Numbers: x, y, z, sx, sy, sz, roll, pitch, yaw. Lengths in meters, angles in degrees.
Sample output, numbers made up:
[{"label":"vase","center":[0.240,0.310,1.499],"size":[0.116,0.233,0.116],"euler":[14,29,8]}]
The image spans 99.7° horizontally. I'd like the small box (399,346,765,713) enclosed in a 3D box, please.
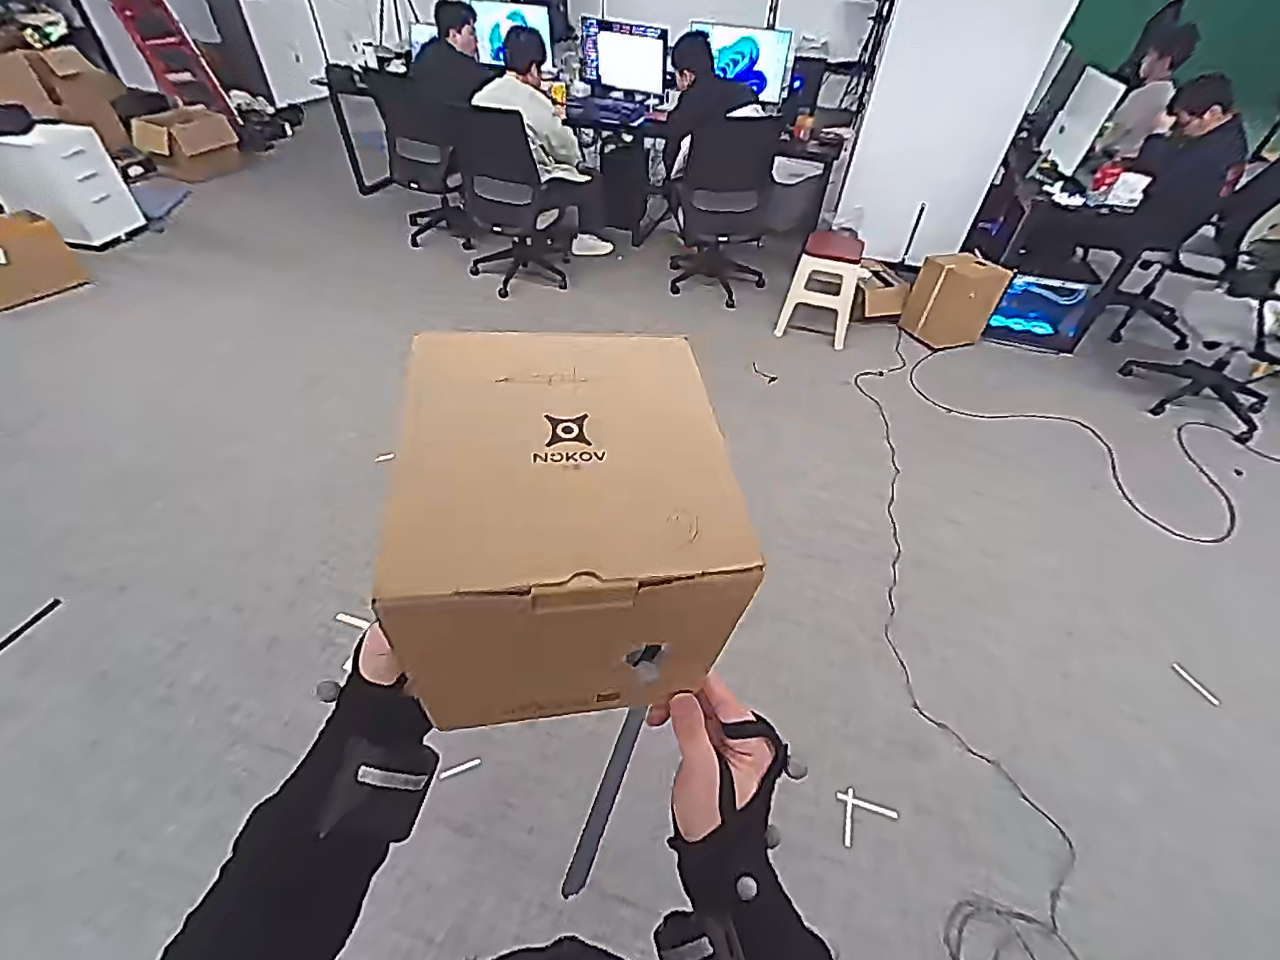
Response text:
[{"label":"small box","center":[-0.043,0.035,0.348],"size":[0.168,0.176,0.179],"euler":[-2,49,-13]}]
